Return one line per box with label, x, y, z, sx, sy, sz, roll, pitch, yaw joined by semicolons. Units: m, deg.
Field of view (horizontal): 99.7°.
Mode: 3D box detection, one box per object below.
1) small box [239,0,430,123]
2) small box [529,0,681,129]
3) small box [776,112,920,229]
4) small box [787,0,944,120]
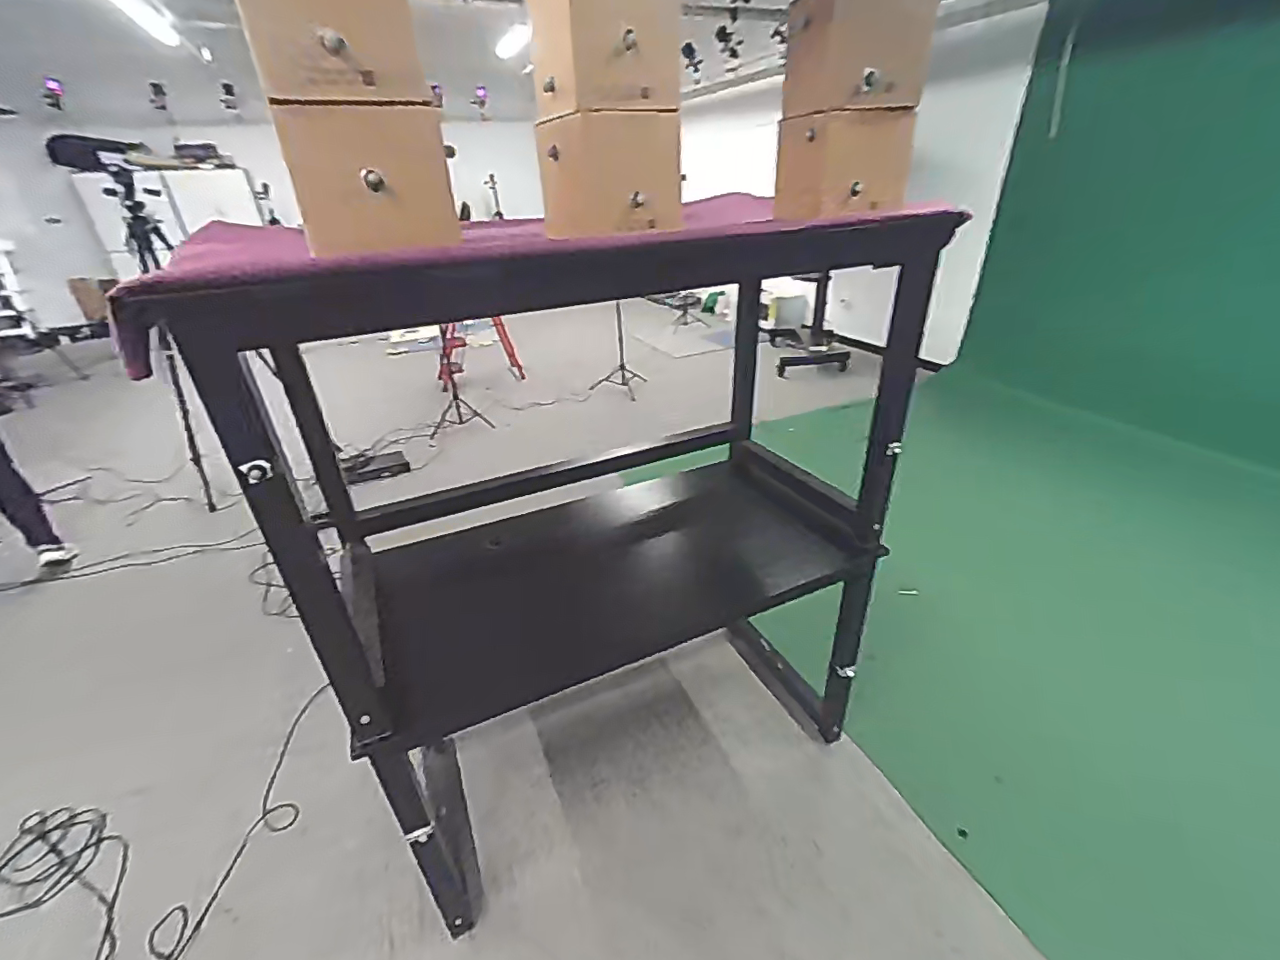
small box;-0.351;-0.514;0.615;0.168;0.176;0.179;-17;31;-23
small box;-0.049;-0.619;0.785;0.168;0.176;0.179;-16;32;-22
small box;0.356;-0.548;0.965;0.168;0.176;0.179;-9;31;-11
small box;0.352;-0.685;0.878;0.168;0.176;0.179;-9;32;-7
